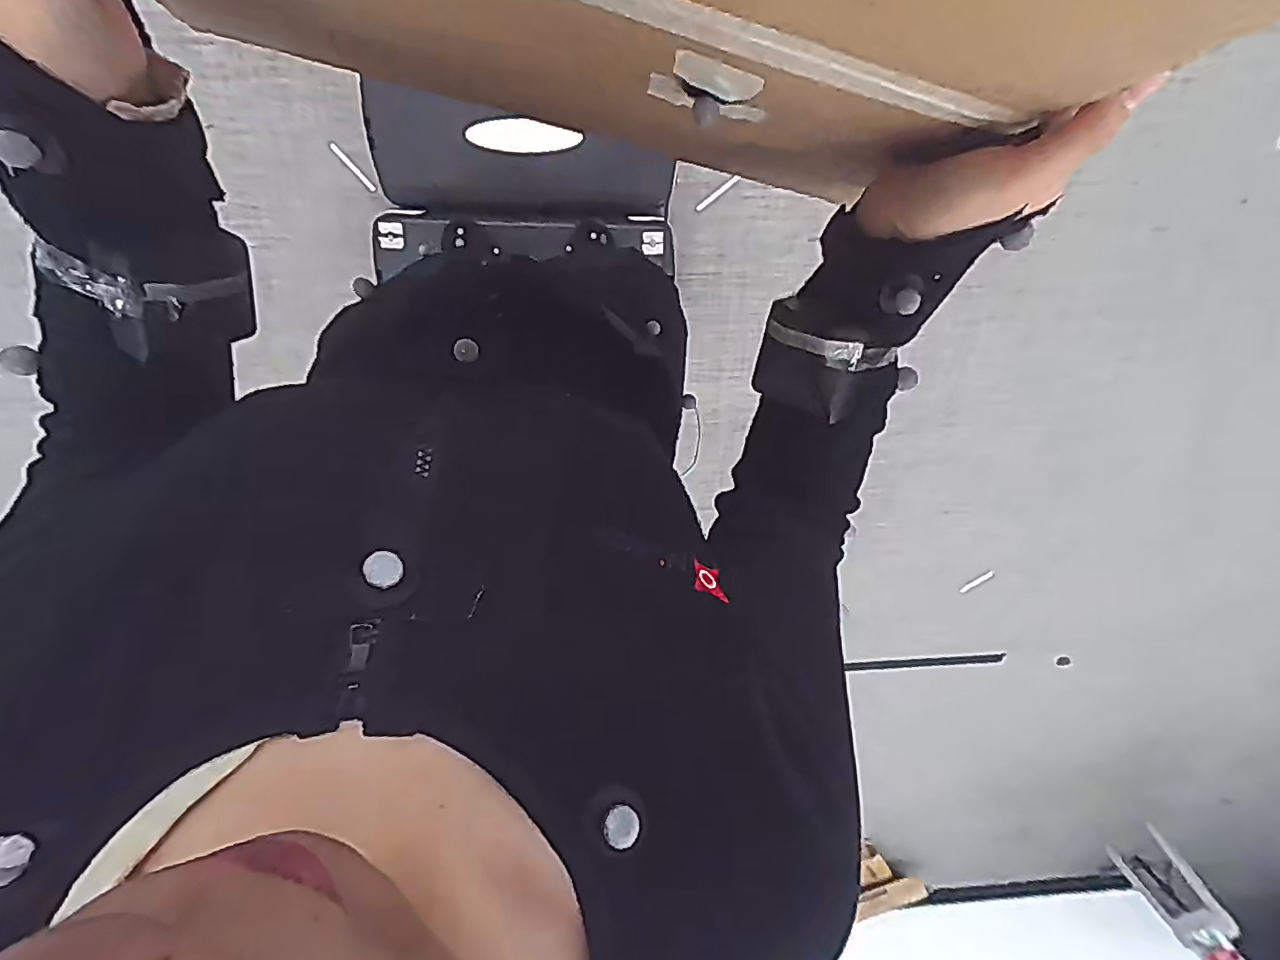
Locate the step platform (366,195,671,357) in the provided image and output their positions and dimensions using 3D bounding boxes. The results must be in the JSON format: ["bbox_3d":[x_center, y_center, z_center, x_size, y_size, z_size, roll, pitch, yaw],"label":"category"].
[{"bbox_3d":[-0.268,-0.474,1.278,0.684,0.204,0.286,5,118,-6],"label":"step platform"}]
